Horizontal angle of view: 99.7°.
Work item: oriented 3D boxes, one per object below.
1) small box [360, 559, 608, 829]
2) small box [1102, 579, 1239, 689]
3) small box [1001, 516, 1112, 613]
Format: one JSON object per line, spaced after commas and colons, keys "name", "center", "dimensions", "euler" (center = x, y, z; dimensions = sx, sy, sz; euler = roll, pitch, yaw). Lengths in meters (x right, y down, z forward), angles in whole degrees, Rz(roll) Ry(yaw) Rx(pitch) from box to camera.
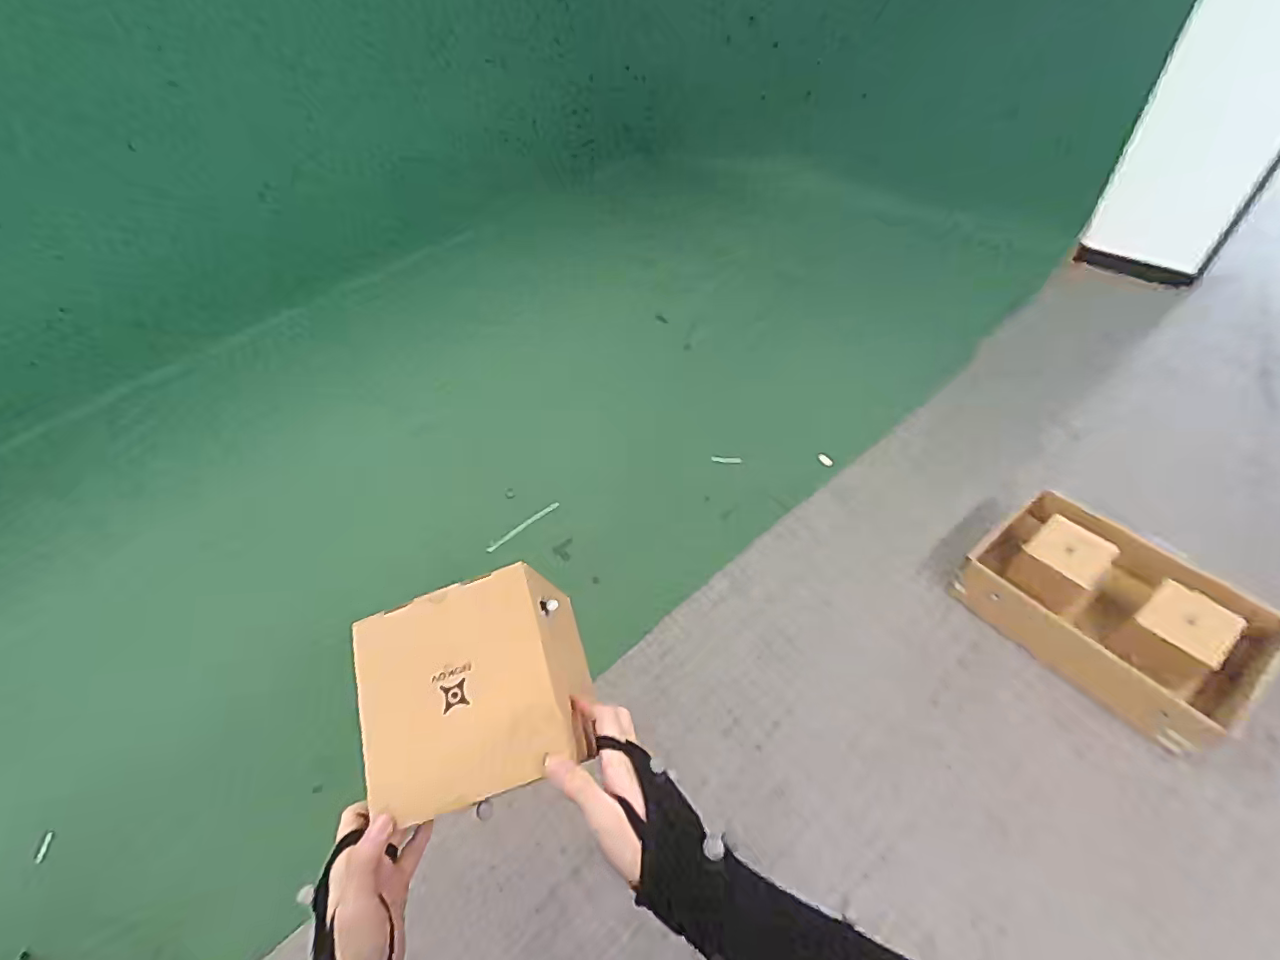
{"name": "small box", "center": [-0.139, 0.200, 0.522], "dimensions": [0.168, 0.176, 0.179], "euler": [-19, 64, -1]}
{"name": "small box", "center": [1.337, 0.395, 1.377], "dimensions": [0.179, 0.176, 0.168], "euler": [-35, 52, -18]}
{"name": "small box", "center": [1.167, 0.244, 1.532], "dimensions": [0.179, 0.176, 0.168], "euler": [-34, 54, -19]}
